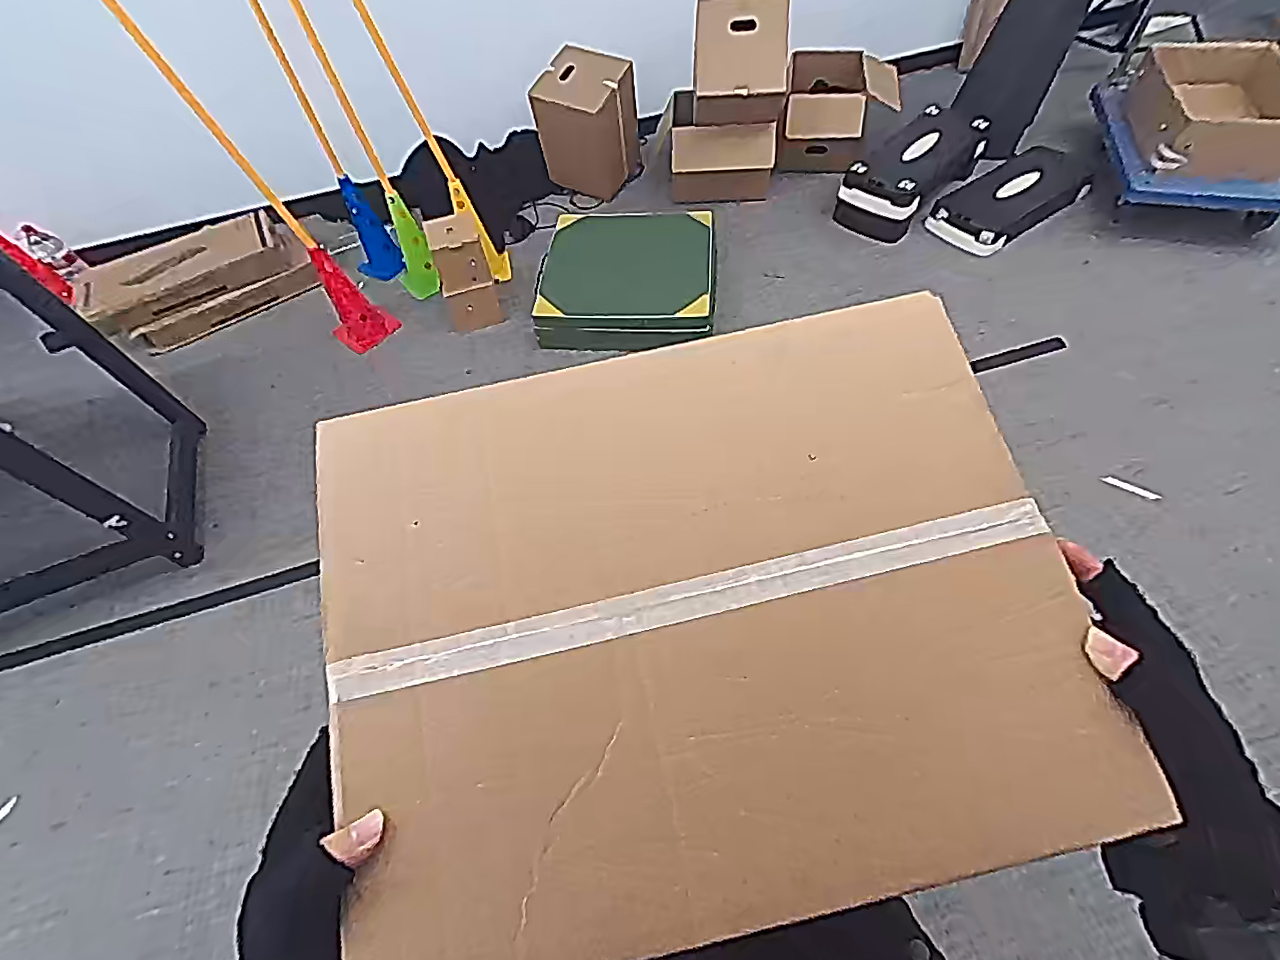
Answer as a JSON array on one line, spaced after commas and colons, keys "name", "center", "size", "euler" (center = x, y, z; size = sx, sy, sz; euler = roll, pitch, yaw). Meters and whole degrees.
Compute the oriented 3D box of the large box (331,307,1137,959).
[{"name": "large box", "center": [0.036, 0.113, 0.452], "size": [0.408, 0.320, 0.320], "euler": [-13, 72, -2]}]
